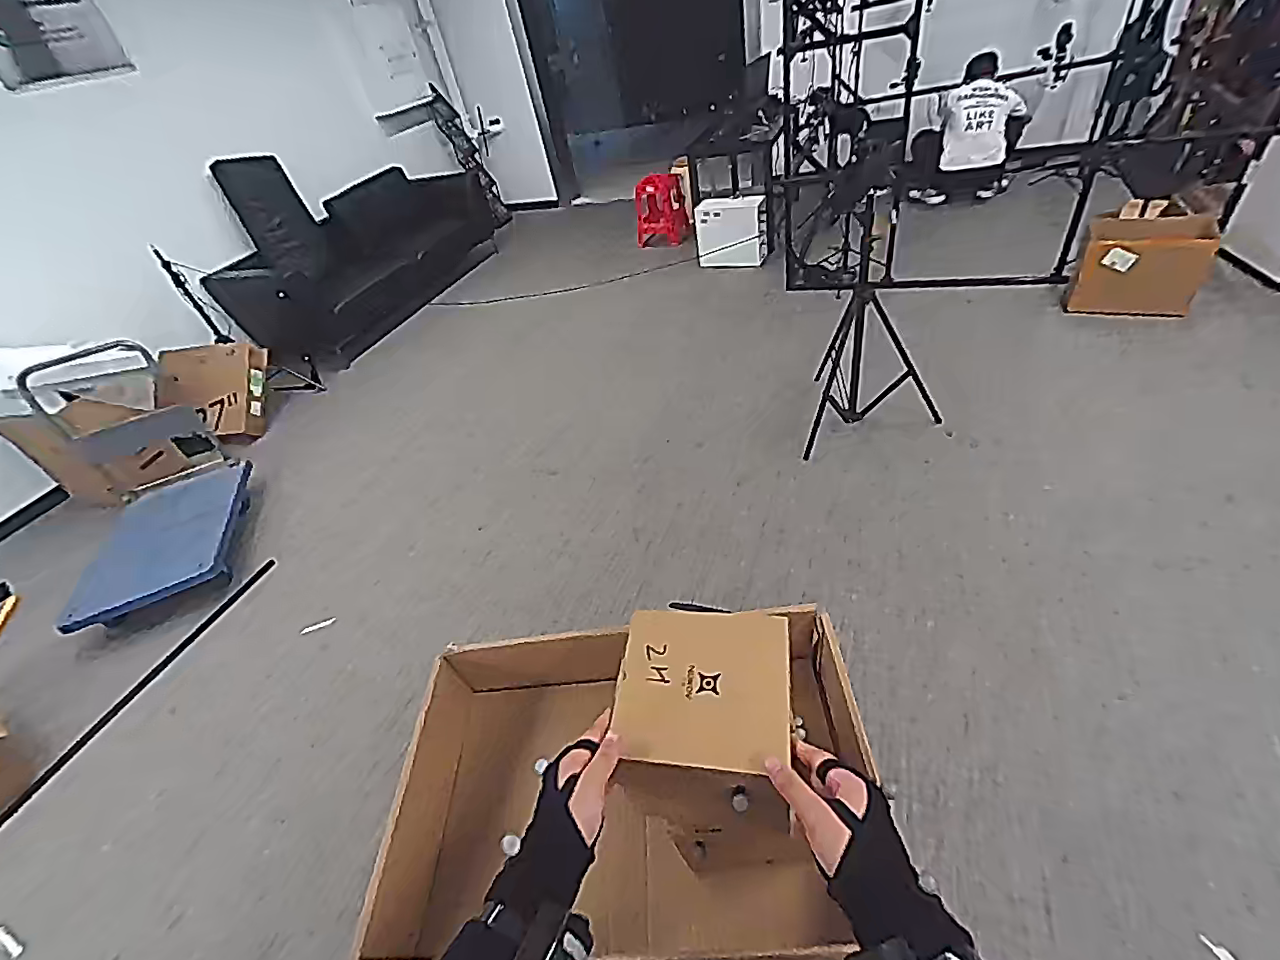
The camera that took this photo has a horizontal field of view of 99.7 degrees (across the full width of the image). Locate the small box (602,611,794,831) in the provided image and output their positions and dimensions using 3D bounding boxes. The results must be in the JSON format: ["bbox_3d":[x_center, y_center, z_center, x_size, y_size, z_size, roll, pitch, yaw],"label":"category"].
[{"bbox_3d":[0.076,0.265,0.598,0.179,0.176,0.168,-2,42,15],"label":"small box"}]
